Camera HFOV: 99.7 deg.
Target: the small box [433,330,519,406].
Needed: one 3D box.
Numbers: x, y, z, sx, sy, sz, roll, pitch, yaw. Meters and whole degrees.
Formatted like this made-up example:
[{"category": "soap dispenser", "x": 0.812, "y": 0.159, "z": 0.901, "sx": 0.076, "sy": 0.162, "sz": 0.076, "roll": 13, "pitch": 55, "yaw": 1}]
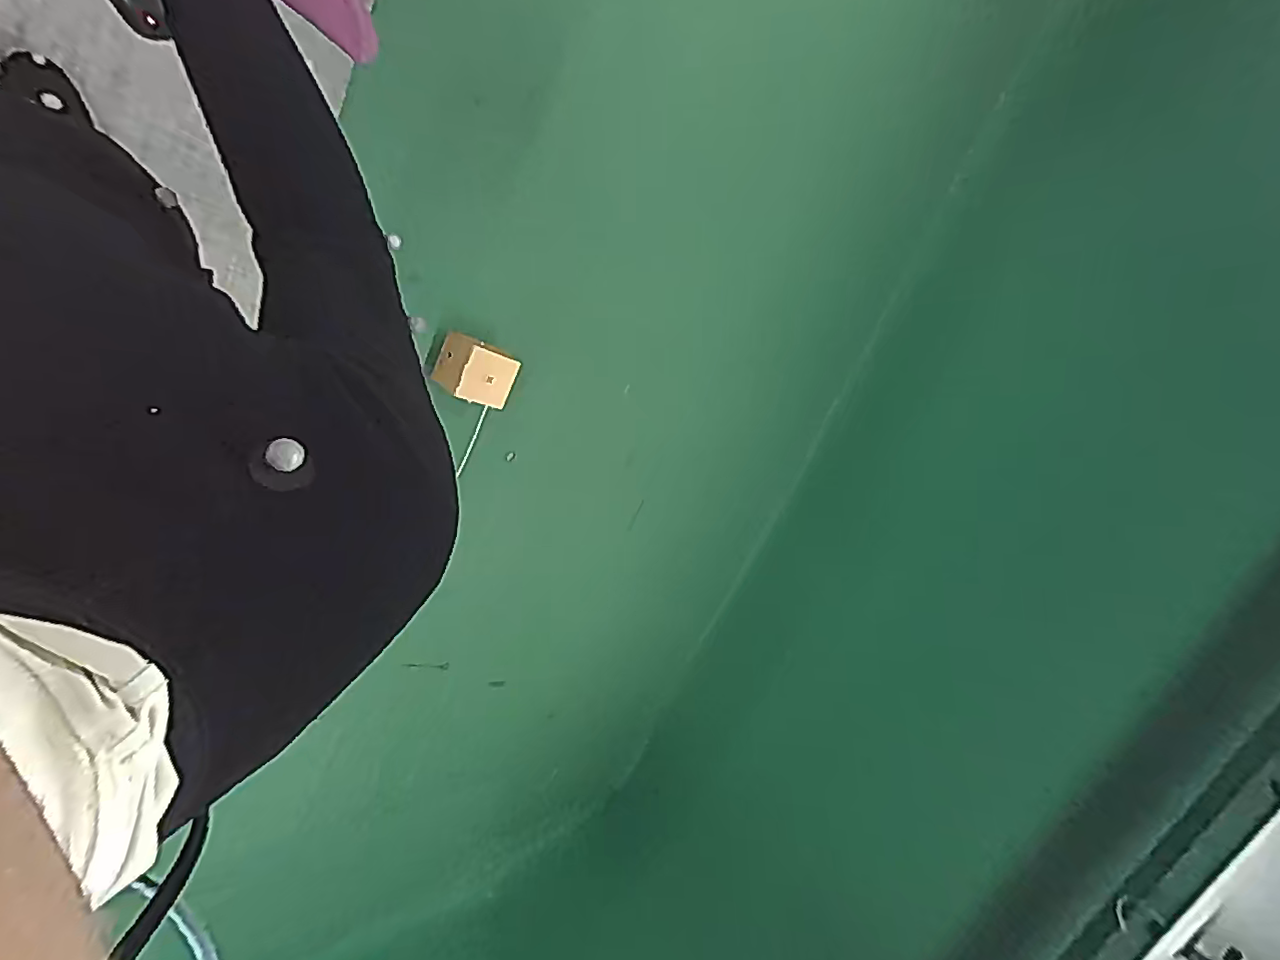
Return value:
[{"category": "small box", "x": -0.521, "y": -0.355, "z": 1.710, "sx": 0.179, "sy": 0.176, "sz": 0.168, "roll": 11, "pitch": 109, "yaw": -49}]
